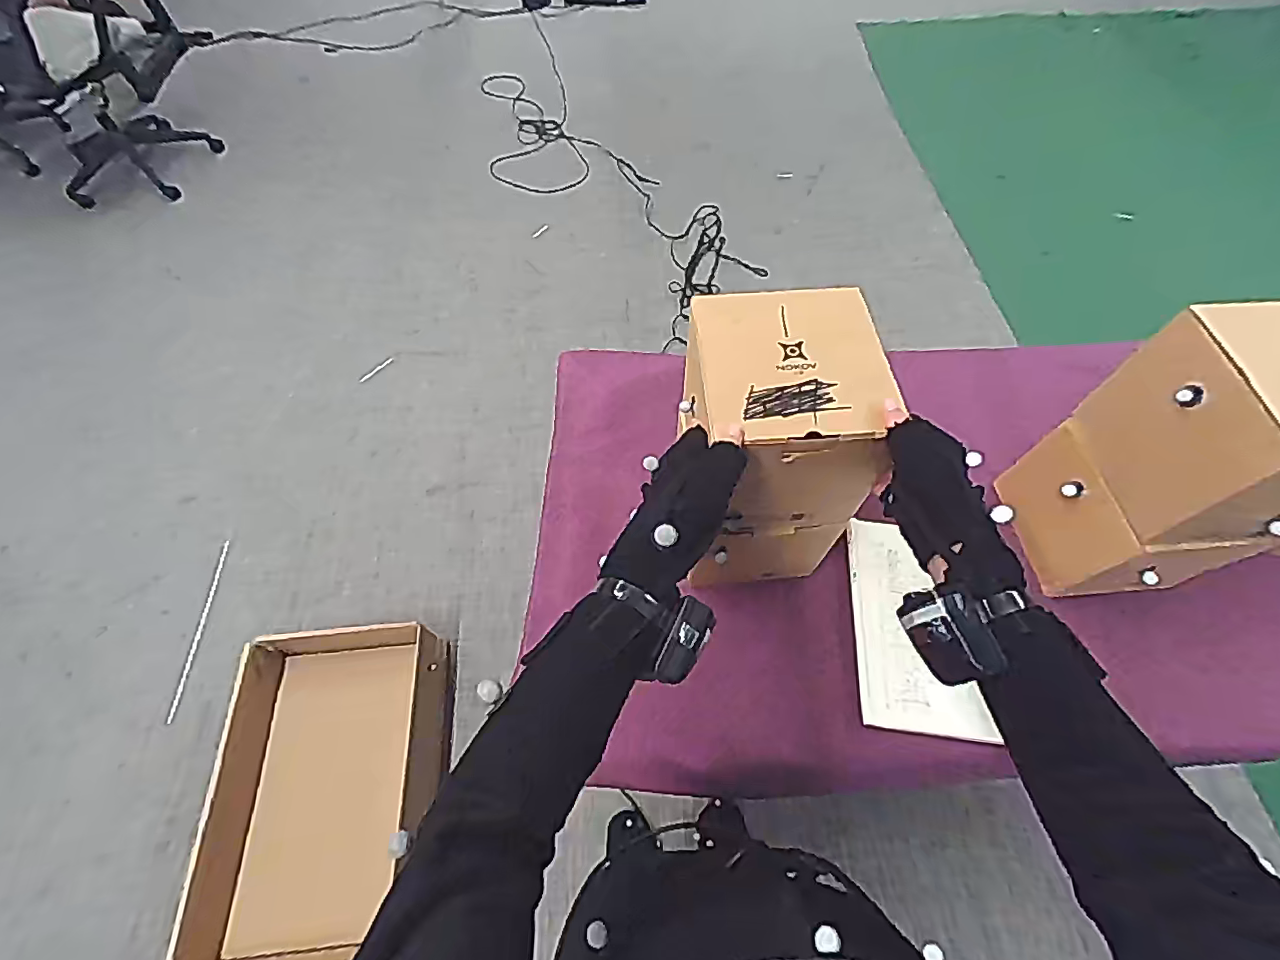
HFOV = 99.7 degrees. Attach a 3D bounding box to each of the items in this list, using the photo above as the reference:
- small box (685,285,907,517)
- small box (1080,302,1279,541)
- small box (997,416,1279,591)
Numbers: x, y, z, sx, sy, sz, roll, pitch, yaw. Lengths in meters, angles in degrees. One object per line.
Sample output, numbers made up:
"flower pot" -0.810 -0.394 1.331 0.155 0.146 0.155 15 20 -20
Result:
"small box" 0.137 -0.070 0.552 0.168 0.176 0.179 -3 60 -1
"small box" 0.596 -0.053 0.535 0.168 0.176 0.179 -2 60 1
"small box" 0.597 0.033 0.676 0.168 0.176 0.179 -4 60 -1
